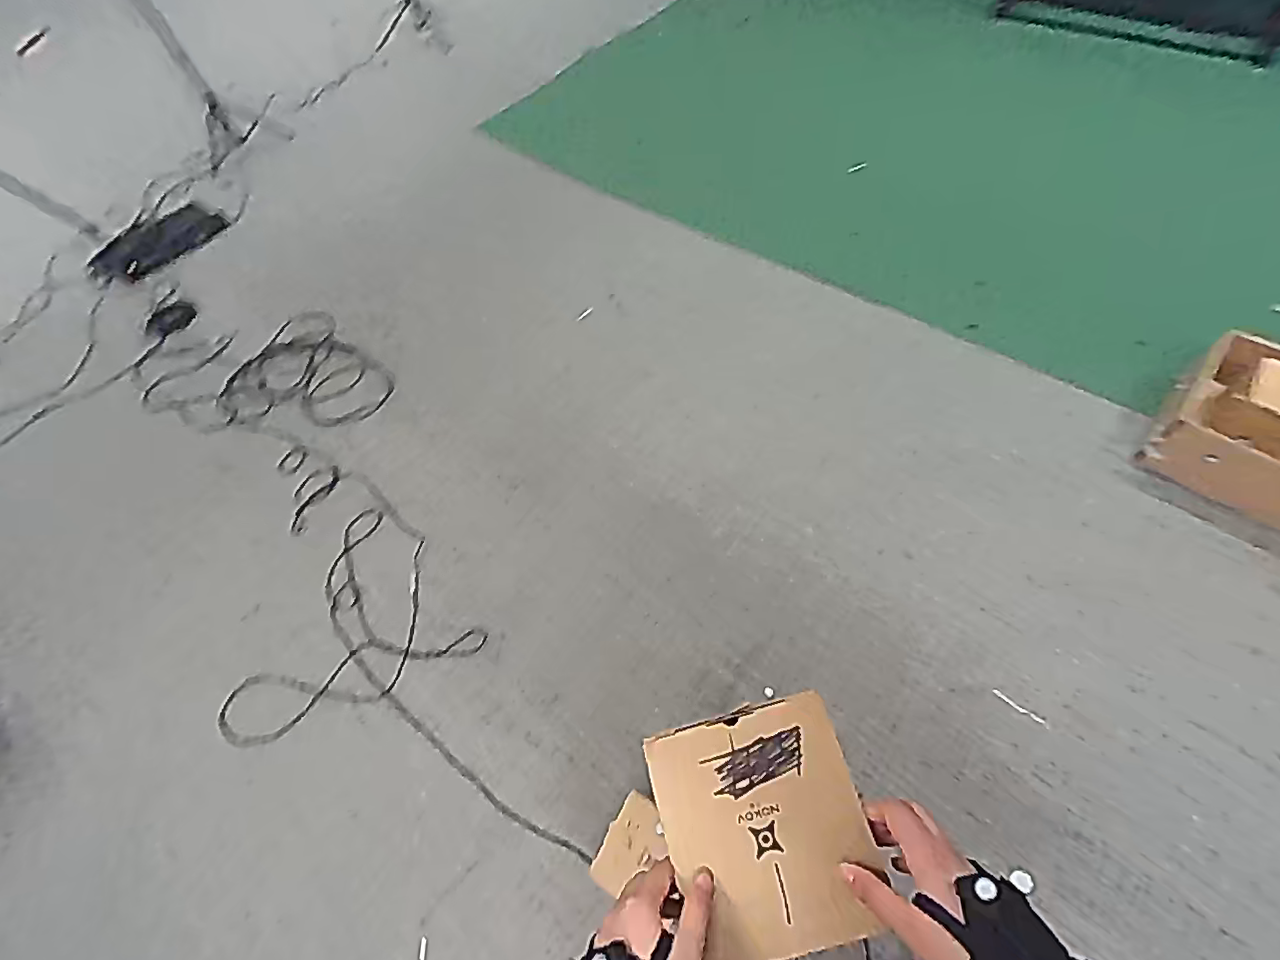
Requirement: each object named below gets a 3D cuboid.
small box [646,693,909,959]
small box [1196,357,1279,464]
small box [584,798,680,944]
[{"bbox_3d":[0.112,0.312,0.505,0.168,0.176,0.179,-16,66,3],"label":"small box"},{"bbox_3d":[1.606,-0.175,1.395,0.168,0.176,0.179,31,69,21],"label":"small box"},{"bbox_3d":[0.017,0.761,1.076,0.179,0.176,0.168,25,64,20],"label":"small box"}]
